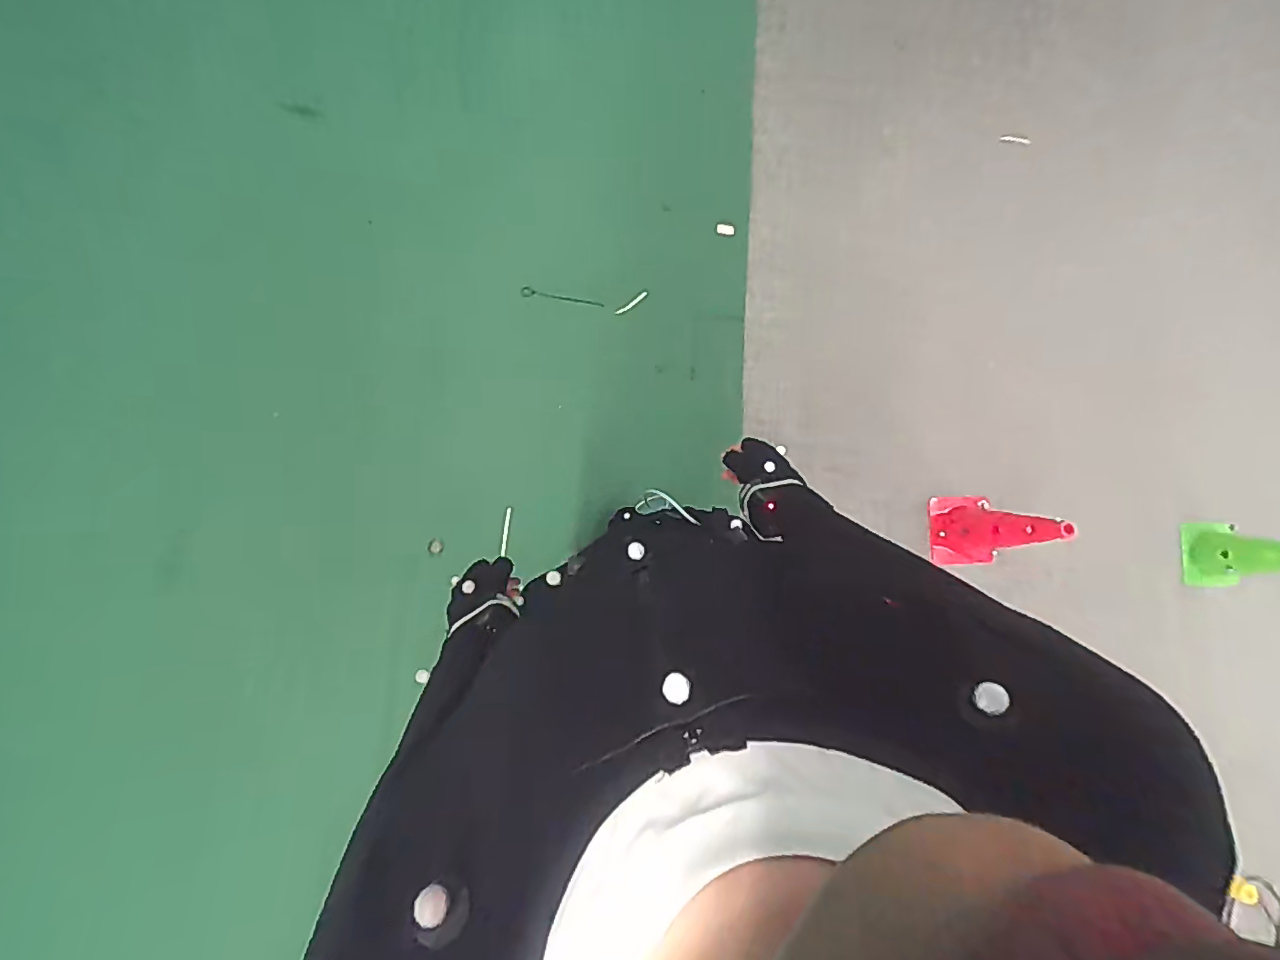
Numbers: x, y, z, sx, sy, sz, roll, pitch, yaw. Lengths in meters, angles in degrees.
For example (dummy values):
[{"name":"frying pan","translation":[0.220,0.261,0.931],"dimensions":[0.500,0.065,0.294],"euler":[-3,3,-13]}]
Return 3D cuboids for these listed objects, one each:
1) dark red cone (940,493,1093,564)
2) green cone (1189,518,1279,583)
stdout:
[{"name":"dark red cone","translation":[0.983,0.125,1.403],"dimensions":[0.201,0.394,0.202],"euler":[-2,85,-5]},{"name":"green cone","translation":[1.819,0.207,1.513],"dimensions":[0.200,0.368,0.202],"euler":[2,86,-6]}]
